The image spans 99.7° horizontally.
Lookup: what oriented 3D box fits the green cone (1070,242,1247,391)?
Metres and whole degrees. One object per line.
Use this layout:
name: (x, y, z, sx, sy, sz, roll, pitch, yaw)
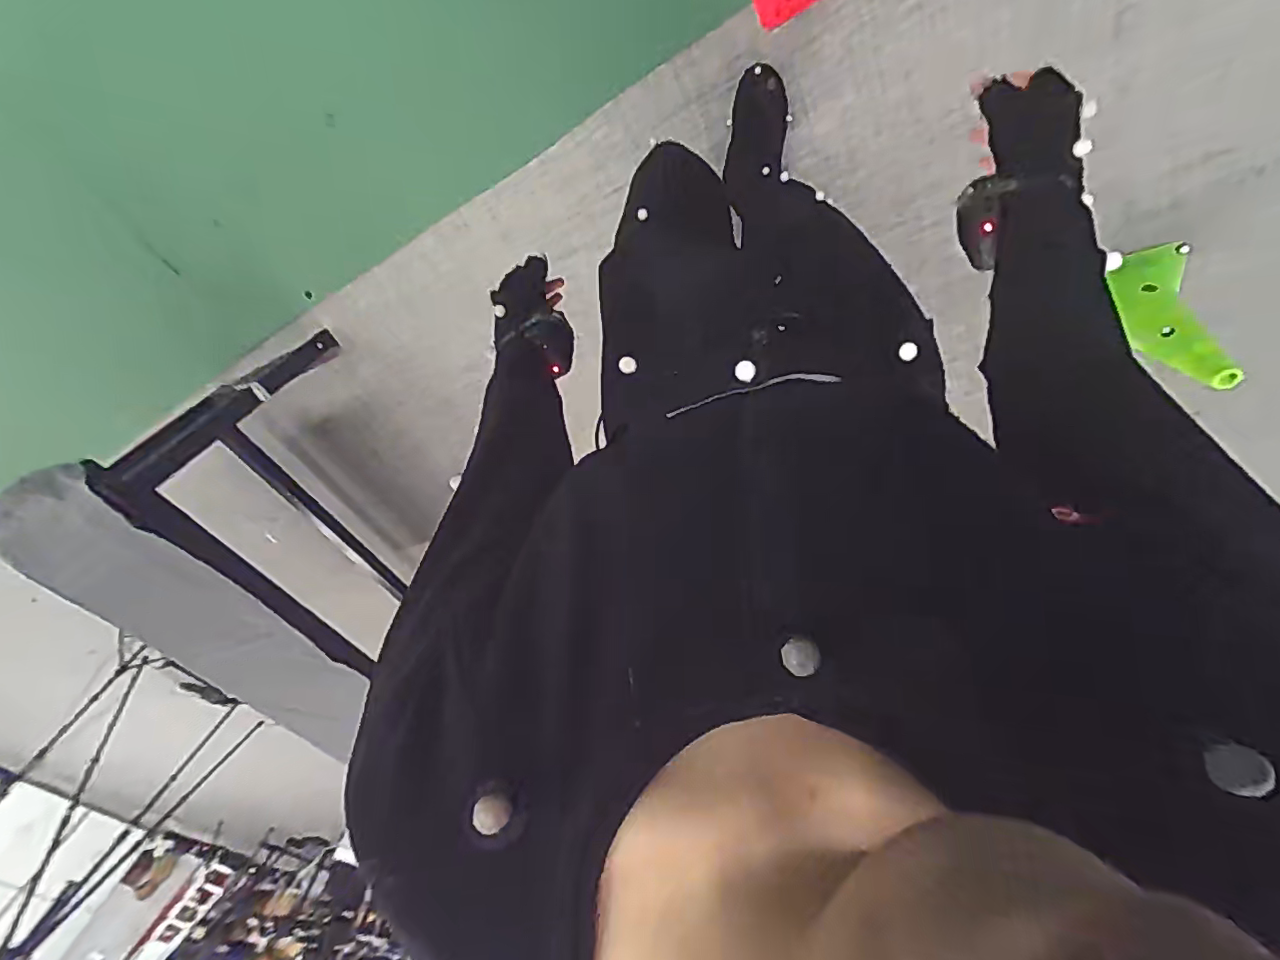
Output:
green cone: (1.035, -0.287, 1.055, 0.200, 0.368, 0.202, -13, 126, 22)
